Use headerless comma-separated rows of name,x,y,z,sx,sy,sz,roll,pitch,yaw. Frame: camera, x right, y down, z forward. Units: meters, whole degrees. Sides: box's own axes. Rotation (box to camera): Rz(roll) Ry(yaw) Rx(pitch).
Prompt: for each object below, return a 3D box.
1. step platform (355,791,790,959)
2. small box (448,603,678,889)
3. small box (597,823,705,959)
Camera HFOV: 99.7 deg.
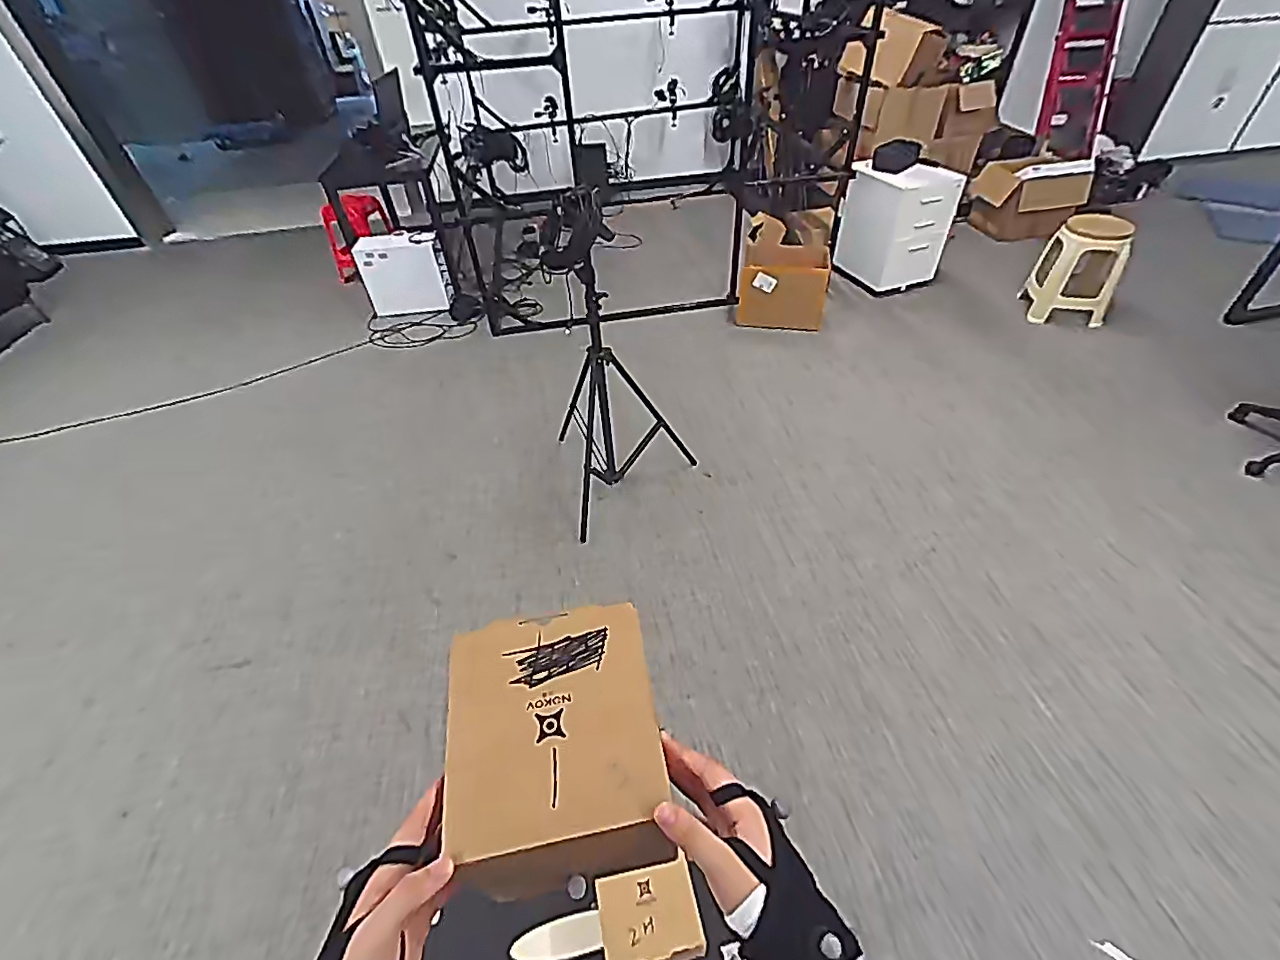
step platform,-0.108,0.788,0.927,0.684,0.204,0.286,-10,44,-7
small box,-0.064,0.243,0.496,0.168,0.176,0.179,-10,47,-5
small box,0.014,0.764,0.993,0.168,0.176,0.179,-12,45,-7
